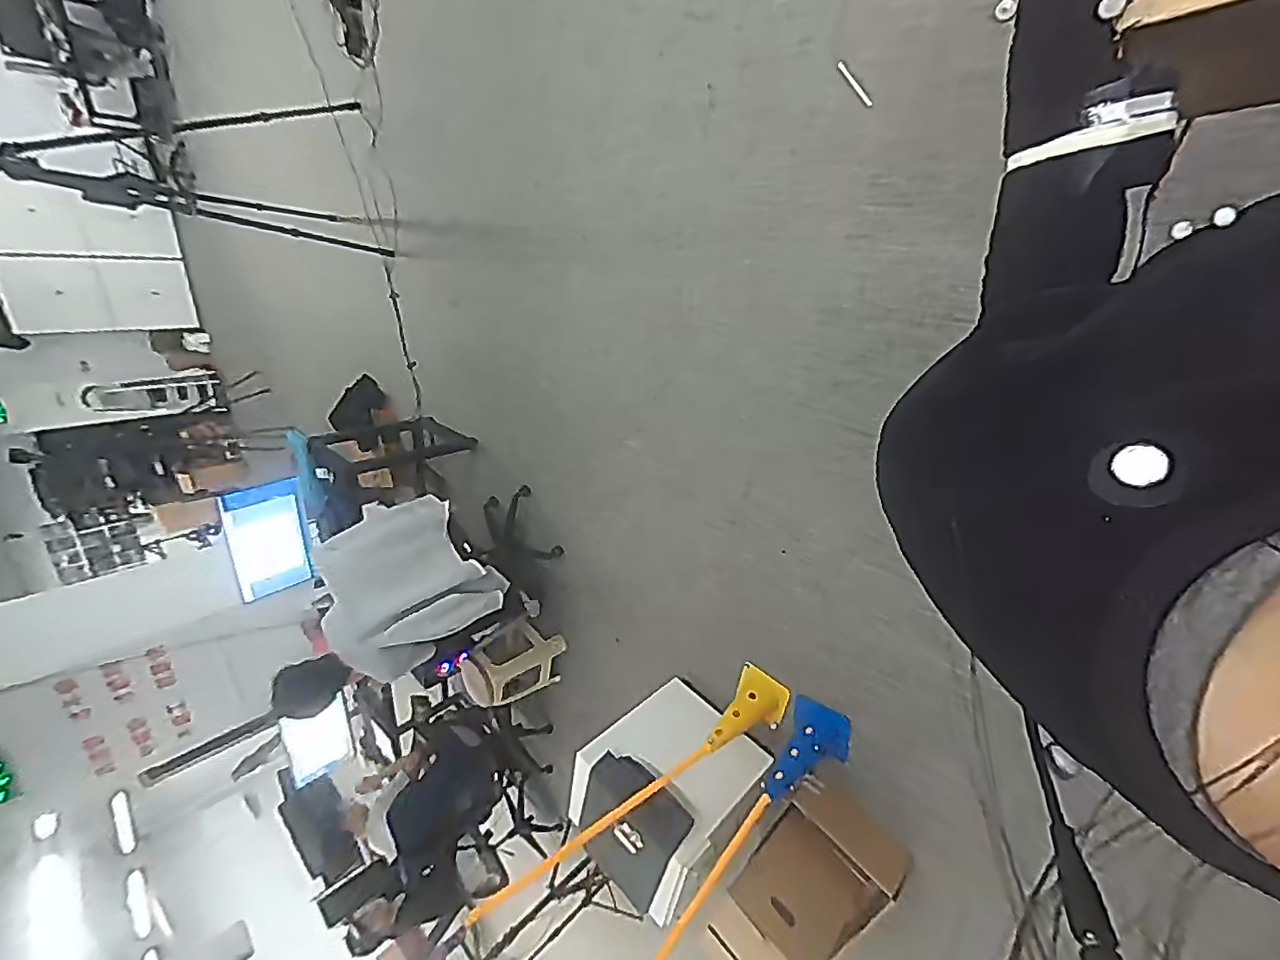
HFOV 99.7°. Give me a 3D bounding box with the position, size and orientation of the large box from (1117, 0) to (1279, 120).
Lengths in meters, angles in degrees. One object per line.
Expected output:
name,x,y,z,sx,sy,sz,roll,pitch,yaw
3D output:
large box,0.535,-0.415,0.255,0.408,0.320,0.320,15,115,41
